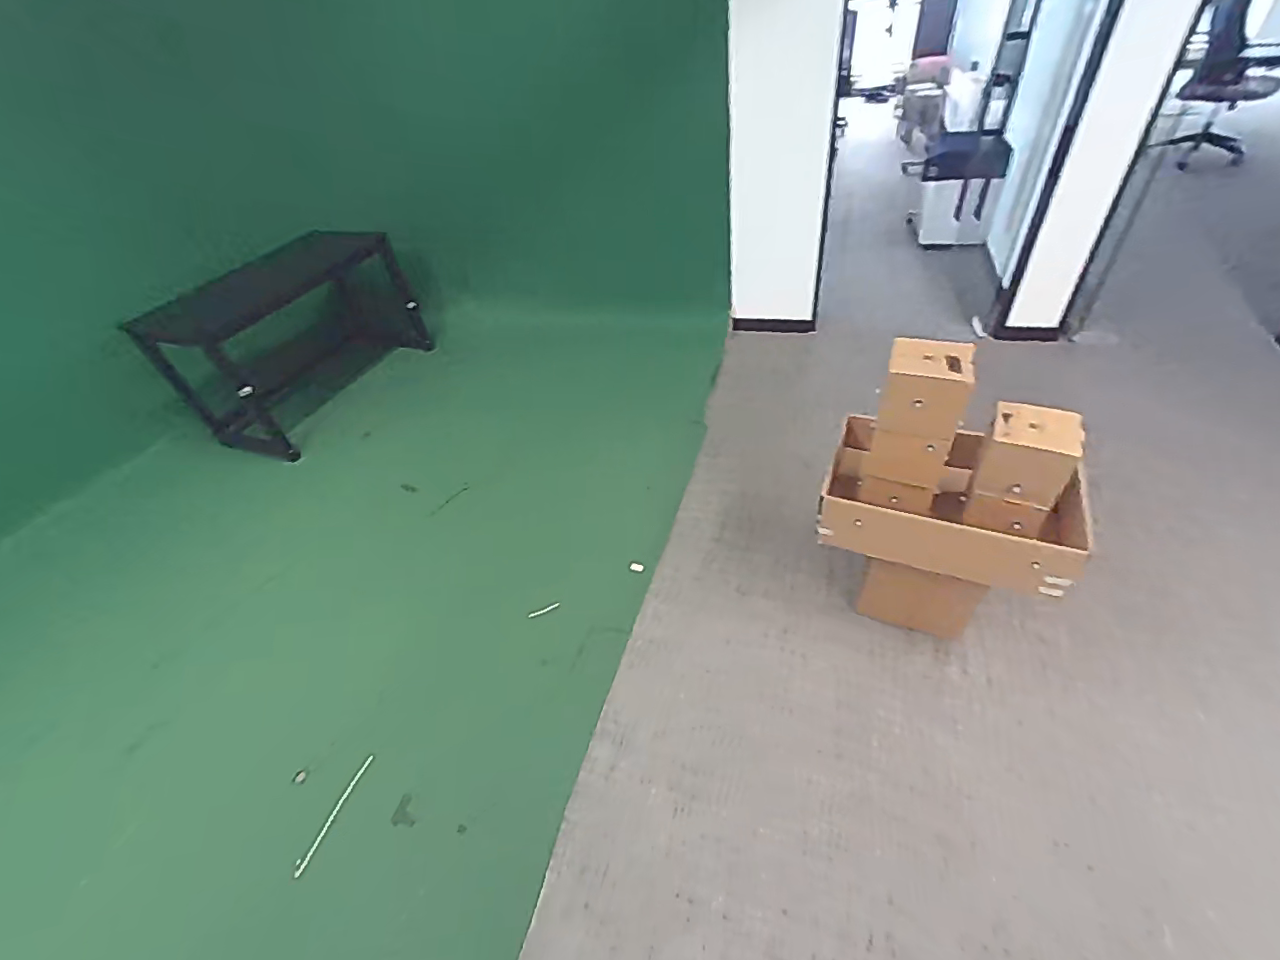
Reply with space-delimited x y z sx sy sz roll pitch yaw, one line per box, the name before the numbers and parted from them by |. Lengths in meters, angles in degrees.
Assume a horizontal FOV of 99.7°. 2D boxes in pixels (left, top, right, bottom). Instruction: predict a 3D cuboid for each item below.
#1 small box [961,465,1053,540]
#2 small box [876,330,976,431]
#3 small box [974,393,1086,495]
small box | 0.974 0.031 1.436 0.168 0.176 0.179 17 51 26
small box | 0.684 -0.238 1.300 0.179 0.176 0.168 12 48 23
small box | 0.950 -0.085 1.323 0.179 0.176 0.168 17 51 25
